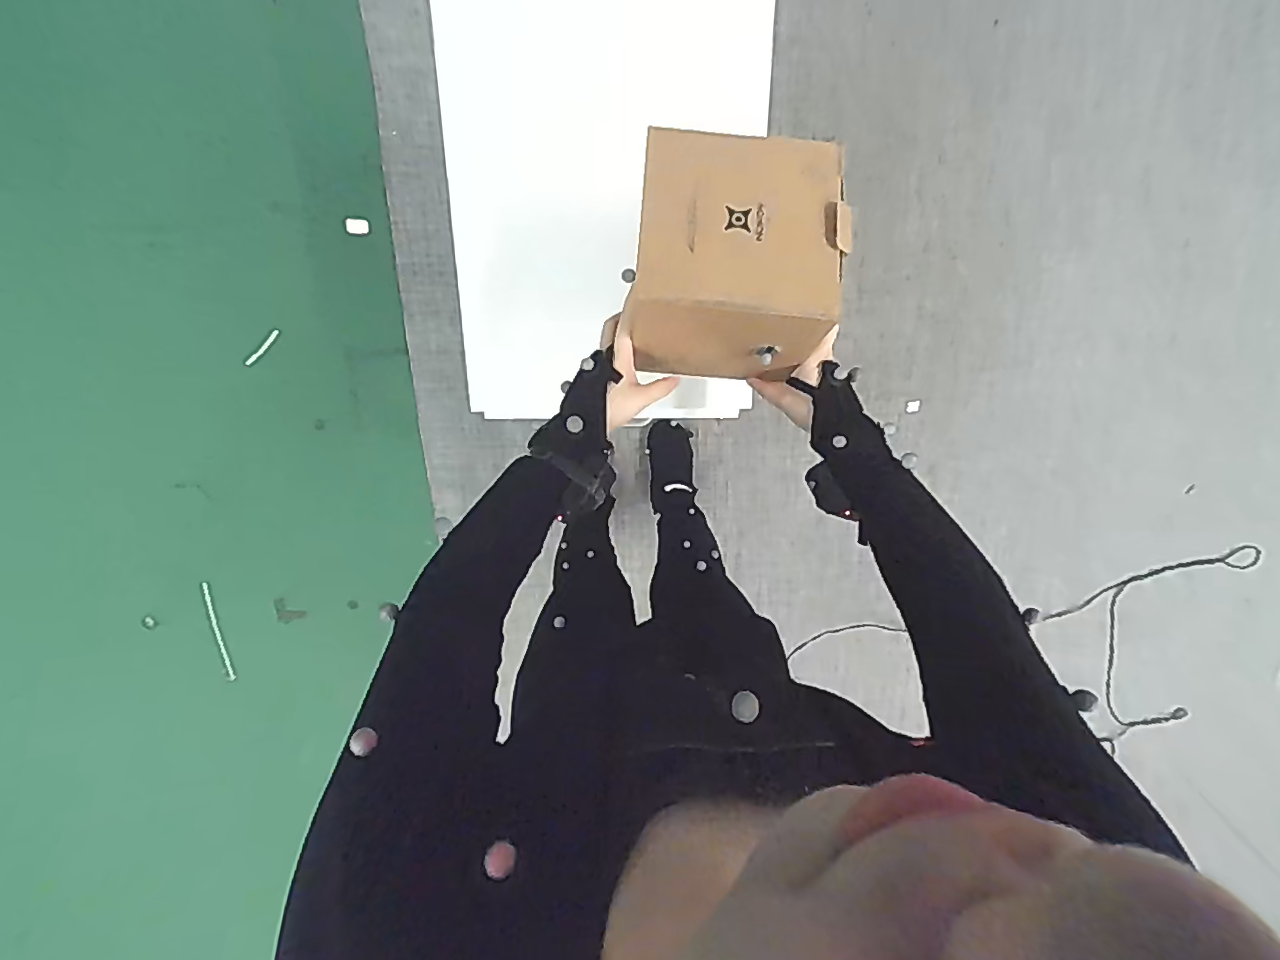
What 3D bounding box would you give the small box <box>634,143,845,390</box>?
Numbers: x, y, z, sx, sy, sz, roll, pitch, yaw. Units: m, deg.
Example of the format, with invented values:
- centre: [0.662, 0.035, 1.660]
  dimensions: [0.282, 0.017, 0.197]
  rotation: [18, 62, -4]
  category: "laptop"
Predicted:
- centre: [0.088, -0.198, 0.545]
  dimensions: [0.179, 0.176, 0.168]
  rotation: [4, 80, -1]
  category: "small box"
